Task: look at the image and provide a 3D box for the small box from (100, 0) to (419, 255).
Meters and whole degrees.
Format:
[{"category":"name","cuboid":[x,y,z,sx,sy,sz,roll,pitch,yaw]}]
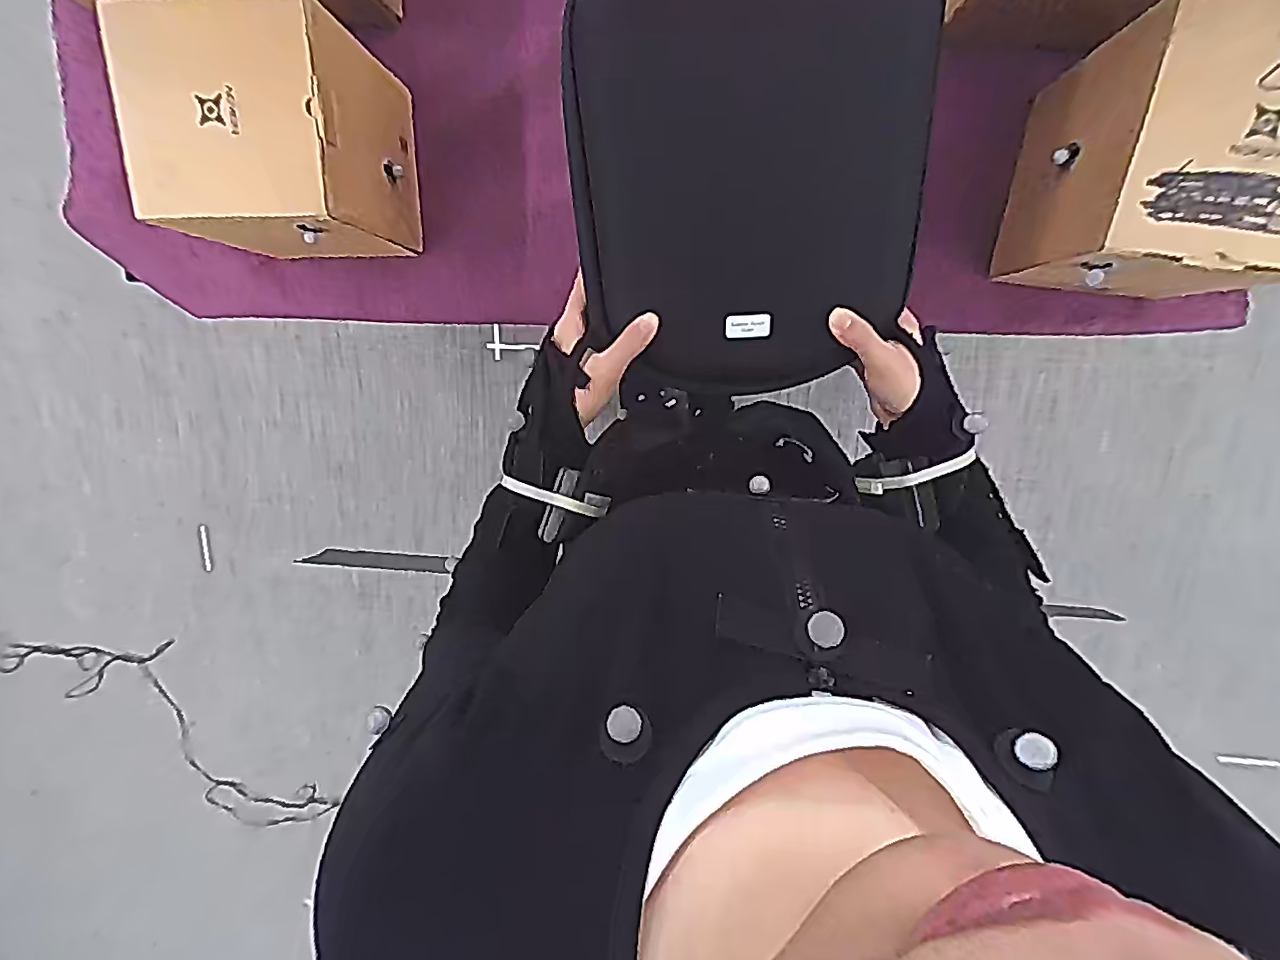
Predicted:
[{"category":"small box","cuboid":[-0.339,-0.319,0.519,0.179,0.176,0.168,0,102,4]}]
